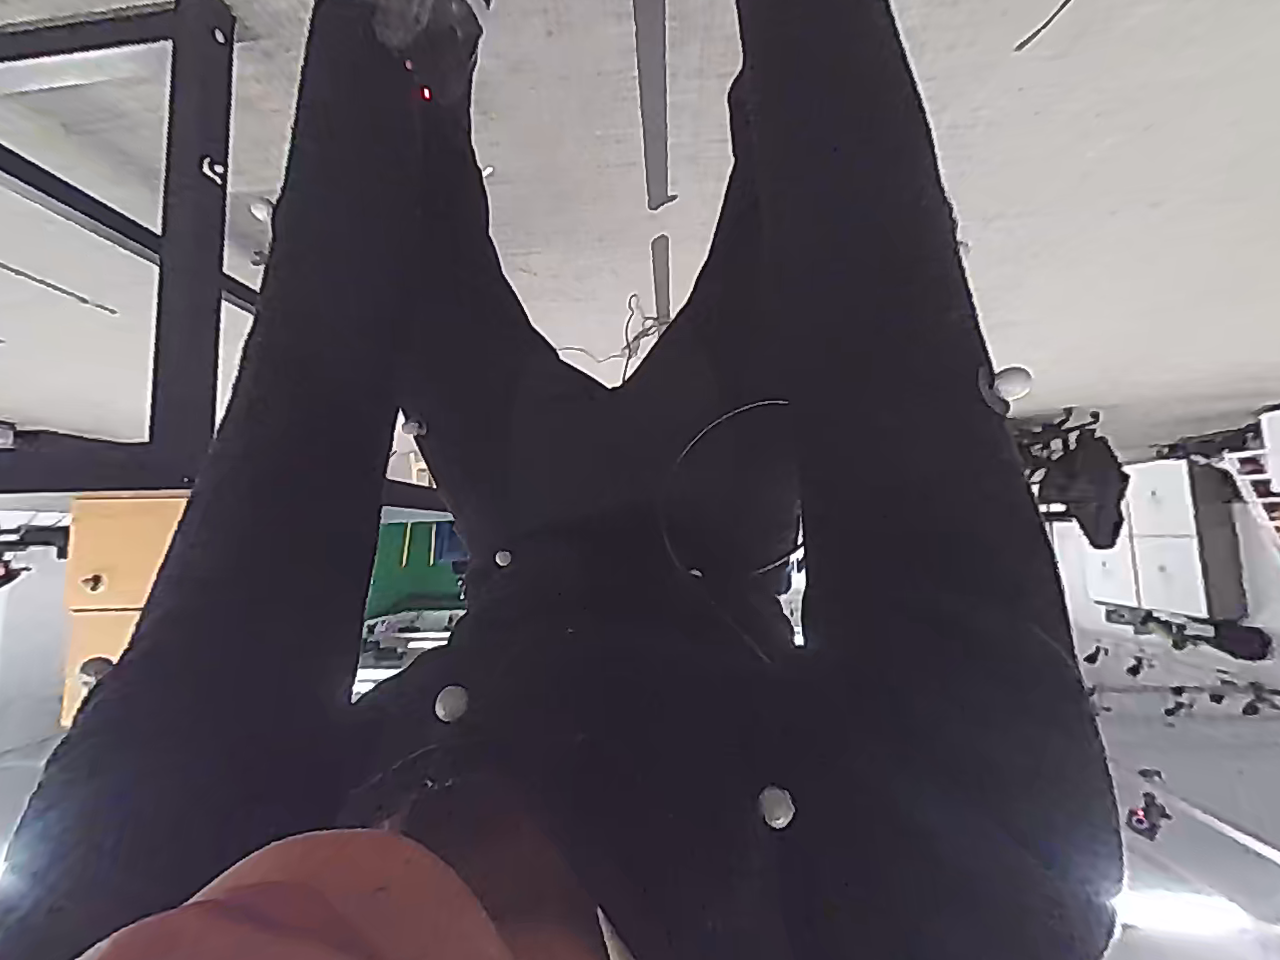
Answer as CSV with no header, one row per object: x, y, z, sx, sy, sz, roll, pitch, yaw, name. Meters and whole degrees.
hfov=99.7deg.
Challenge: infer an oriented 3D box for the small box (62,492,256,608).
-0.761,0.111,0.877,0.179,0.176,0.168,-1,175,0,small box
